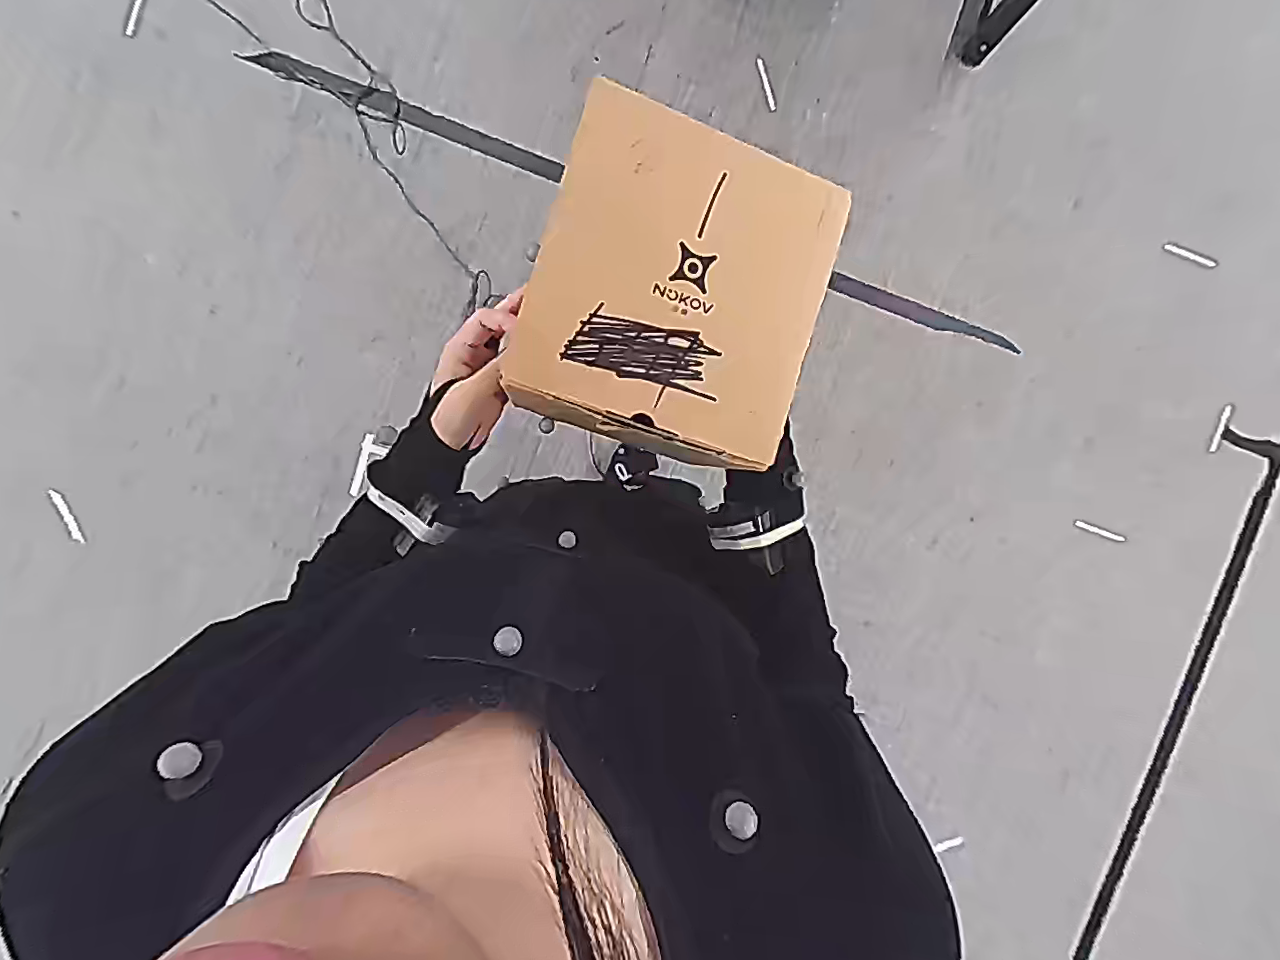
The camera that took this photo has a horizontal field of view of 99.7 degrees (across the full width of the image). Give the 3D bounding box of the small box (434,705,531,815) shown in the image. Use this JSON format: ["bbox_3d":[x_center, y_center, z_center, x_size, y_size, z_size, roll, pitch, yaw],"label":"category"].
[{"bbox_3d":[-0.404,0.724,1.420,0.179,0.176,0.168,27,91,-5],"label":"small box"}]

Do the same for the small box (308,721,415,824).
[{"bbox_3d":[-0.719,0.750,1.412,0.179,0.176,0.168,14,93,-2],"label":"small box"}]

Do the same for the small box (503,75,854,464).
[{"bbox_3d":[0.013,-0.118,0.386,0.168,0.176,0.179,18,89,-11],"label":"small box"}]
